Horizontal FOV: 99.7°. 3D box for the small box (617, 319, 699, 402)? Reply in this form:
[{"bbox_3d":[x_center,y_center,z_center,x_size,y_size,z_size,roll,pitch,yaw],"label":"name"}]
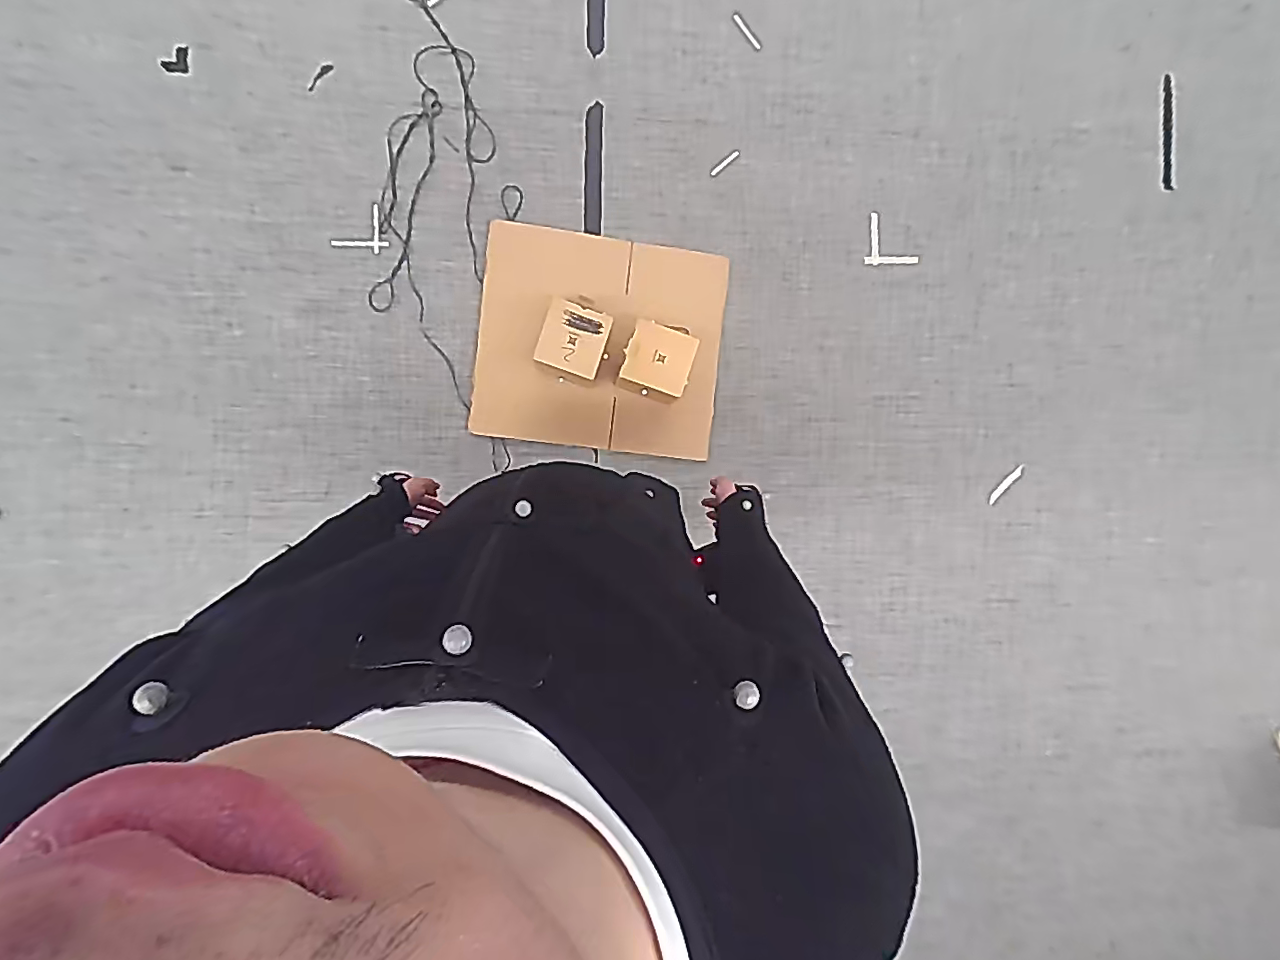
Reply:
[{"bbox_3d":[0.044,-0.325,1.513,0.179,0.176,0.168,19,89,-5],"label":"small box"}]
